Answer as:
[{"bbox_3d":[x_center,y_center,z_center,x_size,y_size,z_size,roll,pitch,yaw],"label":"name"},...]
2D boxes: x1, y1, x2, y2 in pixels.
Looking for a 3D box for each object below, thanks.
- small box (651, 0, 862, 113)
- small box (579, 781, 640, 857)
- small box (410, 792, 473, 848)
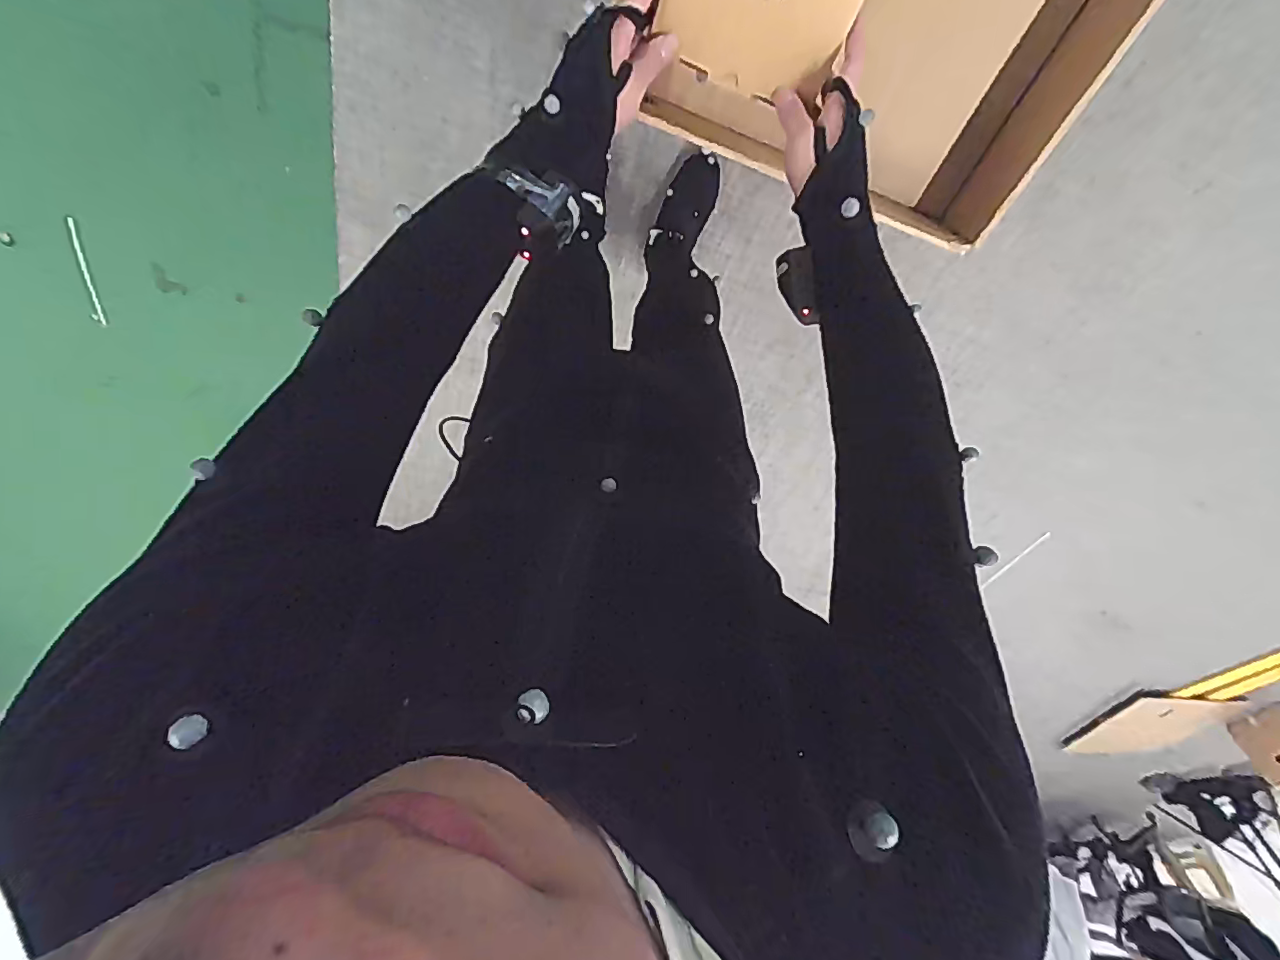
[{"bbox_3d":[0.112,-0.484,0.501,0.168,0.176,0.179,15,131,-14],"label":"small box"},{"bbox_3d":[-0.101,1.158,1.845,0.168,0.176,0.179,15,130,-11],"label":"small box"},{"bbox_3d":[-0.665,1.117,1.827,0.168,0.176,0.179,12,130,-11],"label":"small box"}]
